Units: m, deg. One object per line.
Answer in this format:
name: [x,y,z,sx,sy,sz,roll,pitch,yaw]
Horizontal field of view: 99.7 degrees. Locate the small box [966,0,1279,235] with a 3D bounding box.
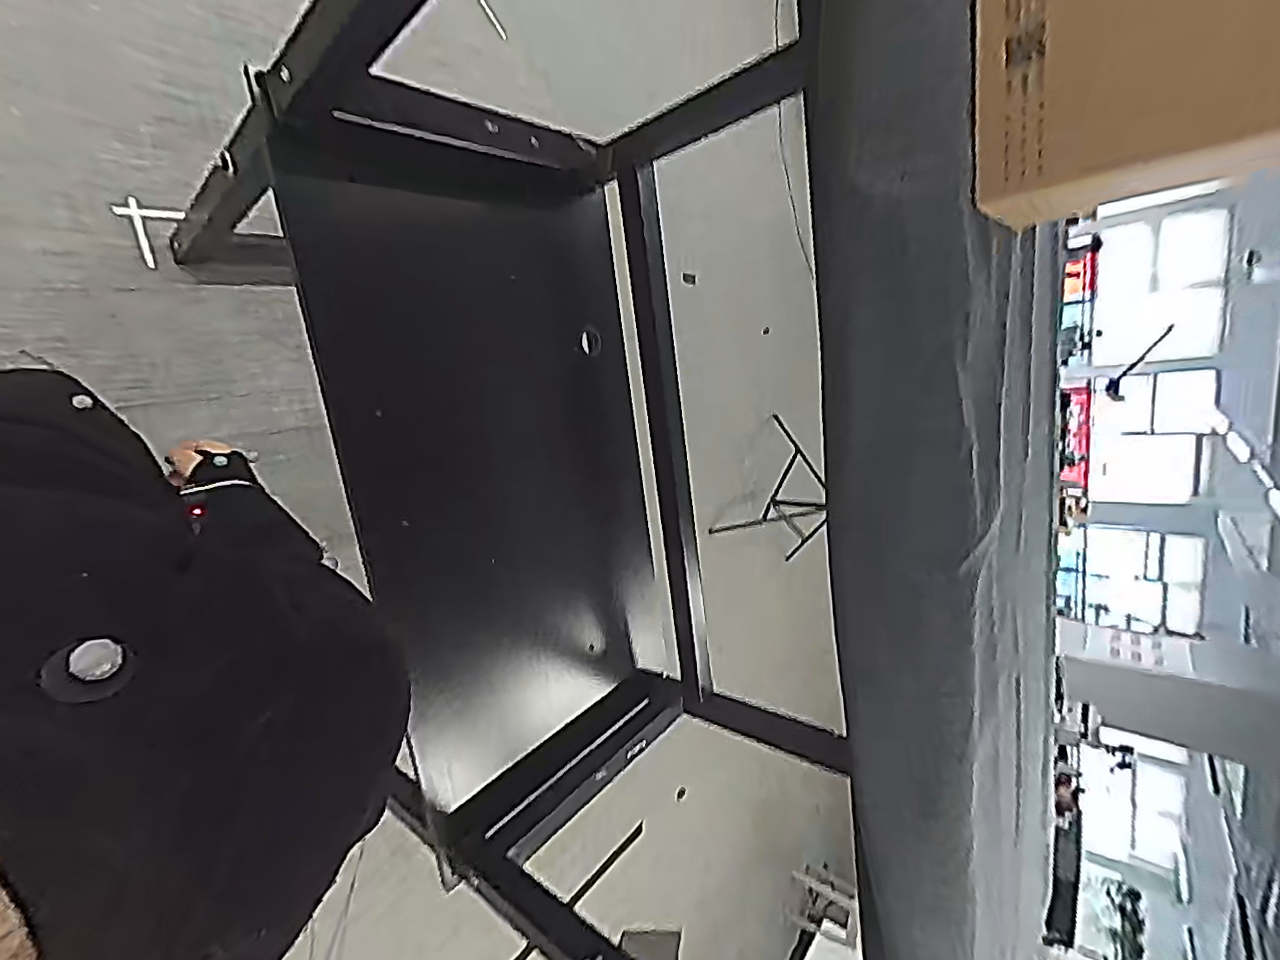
small box: [0.267,-0.229,0.265,0.179,0.176,0.168,-25,111,-48]
